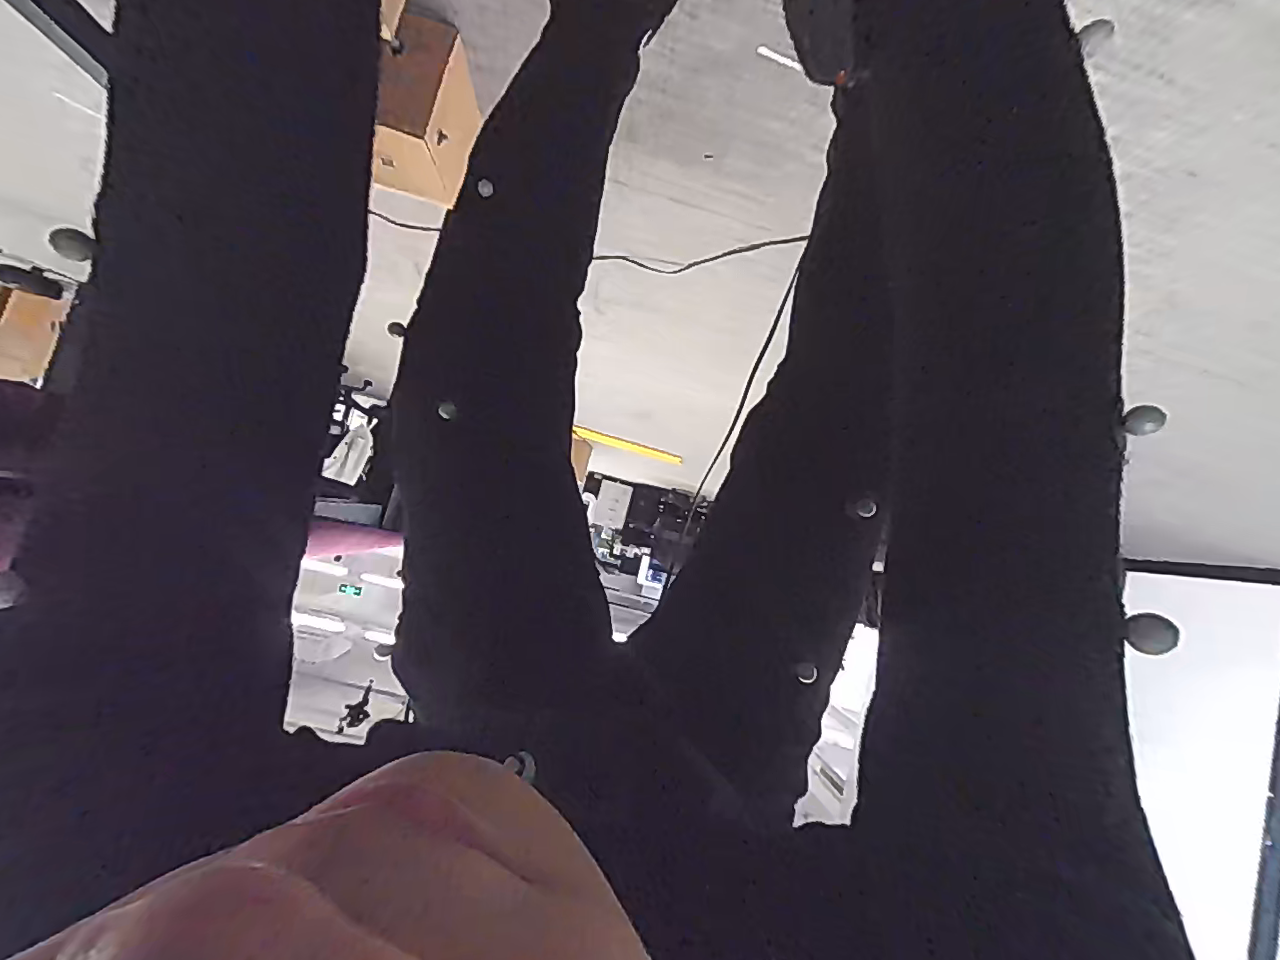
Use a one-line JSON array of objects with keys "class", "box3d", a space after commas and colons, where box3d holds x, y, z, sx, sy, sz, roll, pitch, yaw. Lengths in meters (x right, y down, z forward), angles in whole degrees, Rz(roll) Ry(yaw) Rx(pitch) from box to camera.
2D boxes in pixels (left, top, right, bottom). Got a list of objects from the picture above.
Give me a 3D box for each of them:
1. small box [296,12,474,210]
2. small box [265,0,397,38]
[{"class": "small box", "box3d": [-0.361, -0.548, 0.805, 0.168, 0.176, 0.179, 15, 174, -4]}, {"class": "small box", "box3d": [-0.316, -0.568, 0.483, 0.168, 0.176, 0.179, 15, 175, -5]}]
